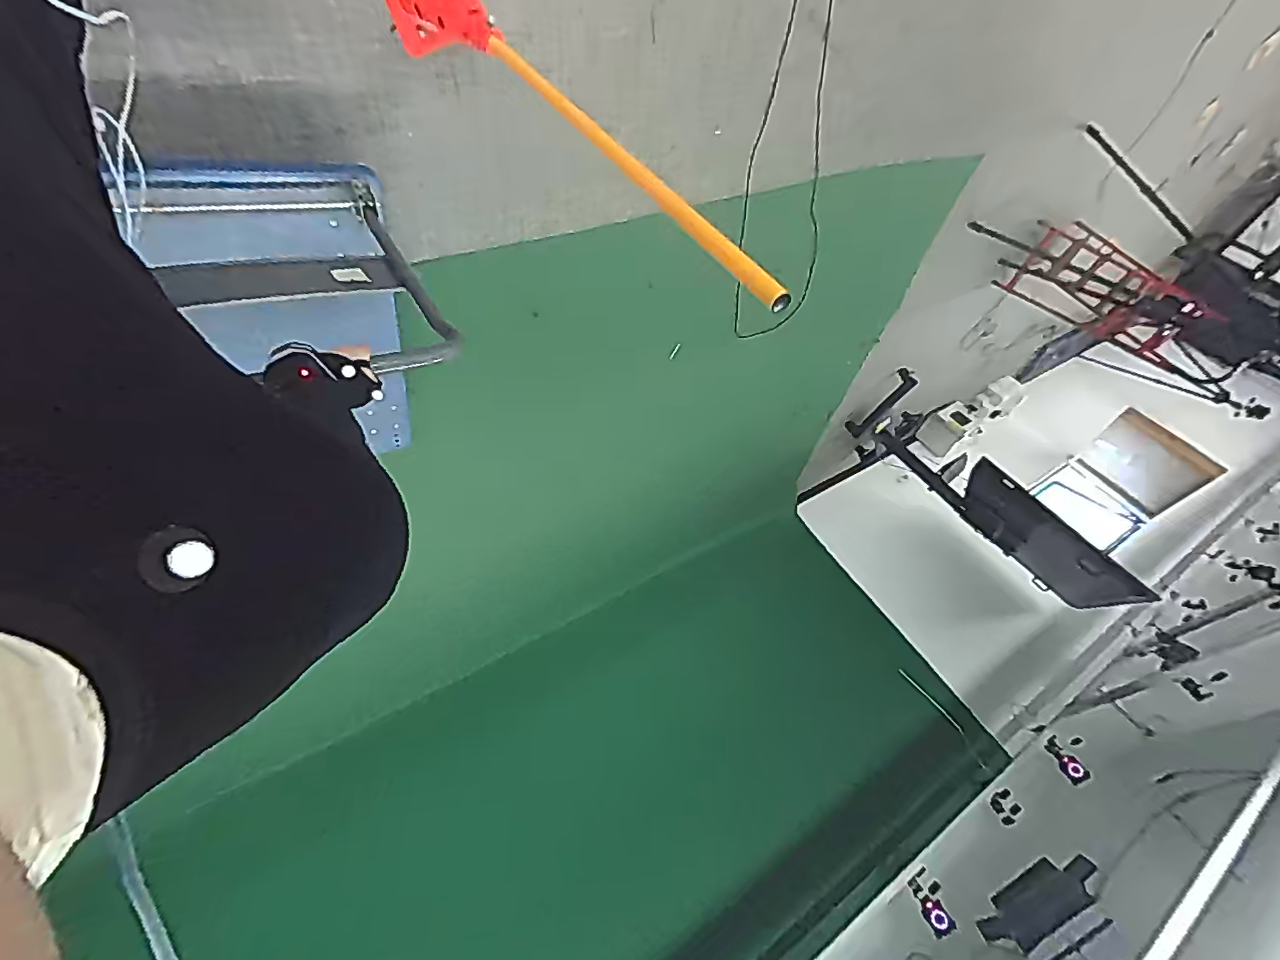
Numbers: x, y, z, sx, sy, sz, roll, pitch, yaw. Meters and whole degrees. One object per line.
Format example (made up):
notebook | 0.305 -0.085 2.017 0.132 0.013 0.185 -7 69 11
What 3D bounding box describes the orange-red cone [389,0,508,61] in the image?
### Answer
orange-red cone | -0.353 -0.922 1.075 0.199 0.360 0.198 -32 153 -11
